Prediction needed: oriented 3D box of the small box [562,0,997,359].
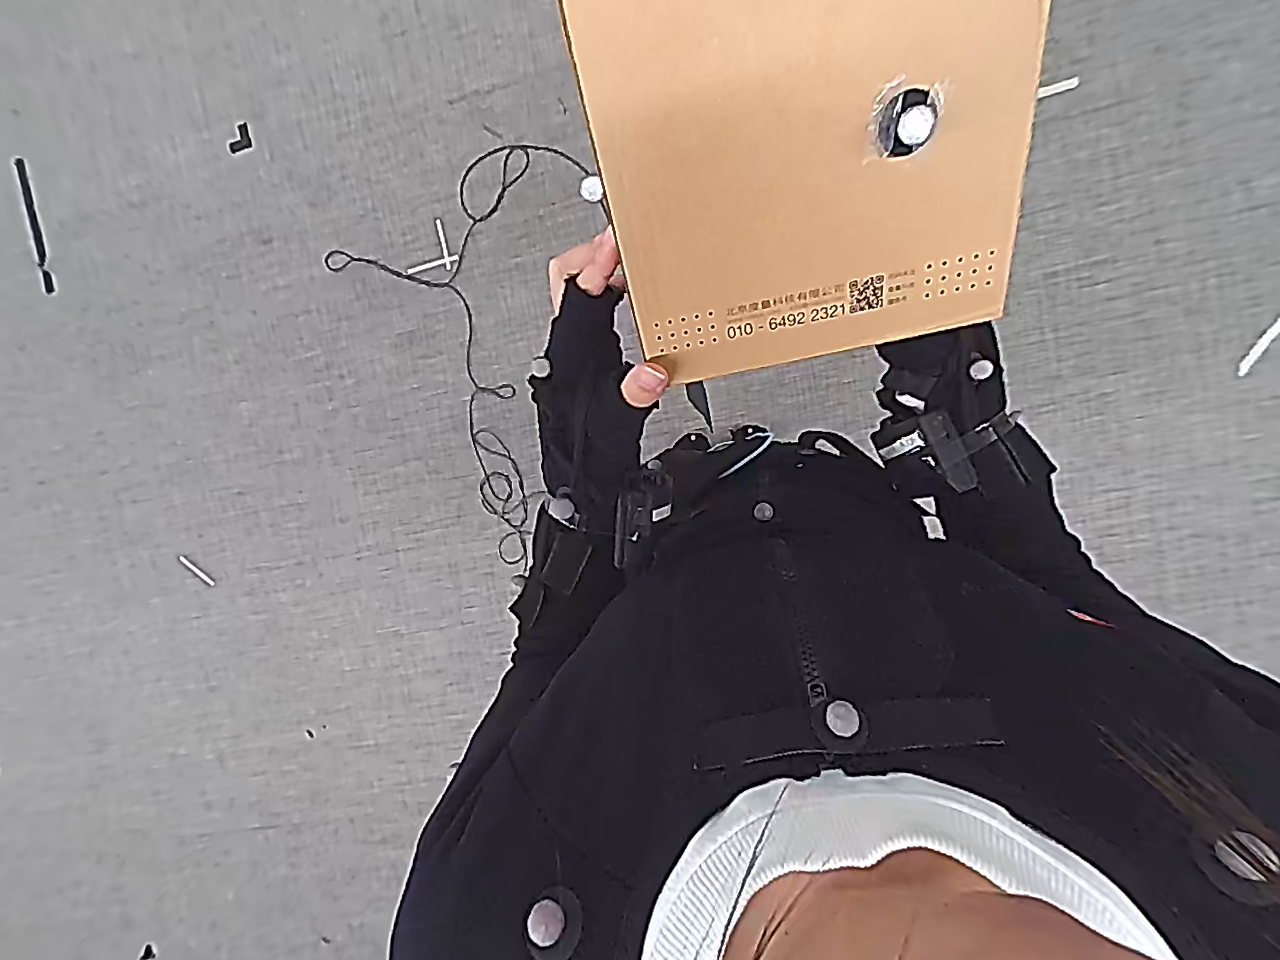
[{"bbox_3d":[0.071,-0.178,0.299,0.168,0.179,0.176,-9,125,9],"label":"small box"}]
